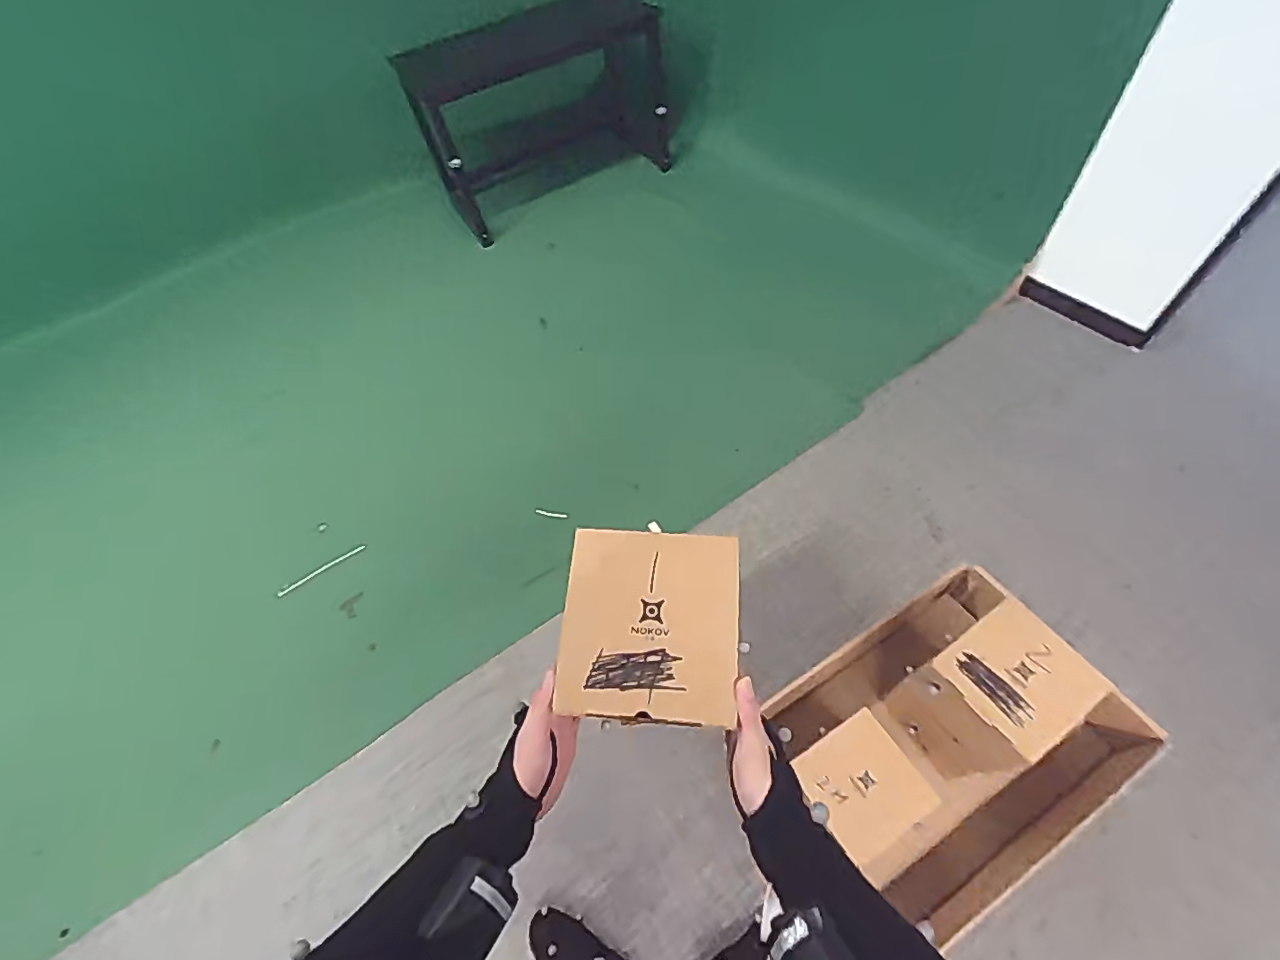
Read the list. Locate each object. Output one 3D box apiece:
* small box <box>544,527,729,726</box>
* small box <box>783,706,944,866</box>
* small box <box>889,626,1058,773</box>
[{"bbox_3d":[0.008,0.161,0.578,0.168,0.176,0.179,2,66,6],"label":"small box"},{"bbox_3d":[0.365,0.519,0.921,0.179,0.176,0.168,-29,57,-11],"label":"small box"},{"bbox_3d":[0.583,0.399,0.974,0.179,0.176,0.168,-32,58,-10],"label":"small box"}]
